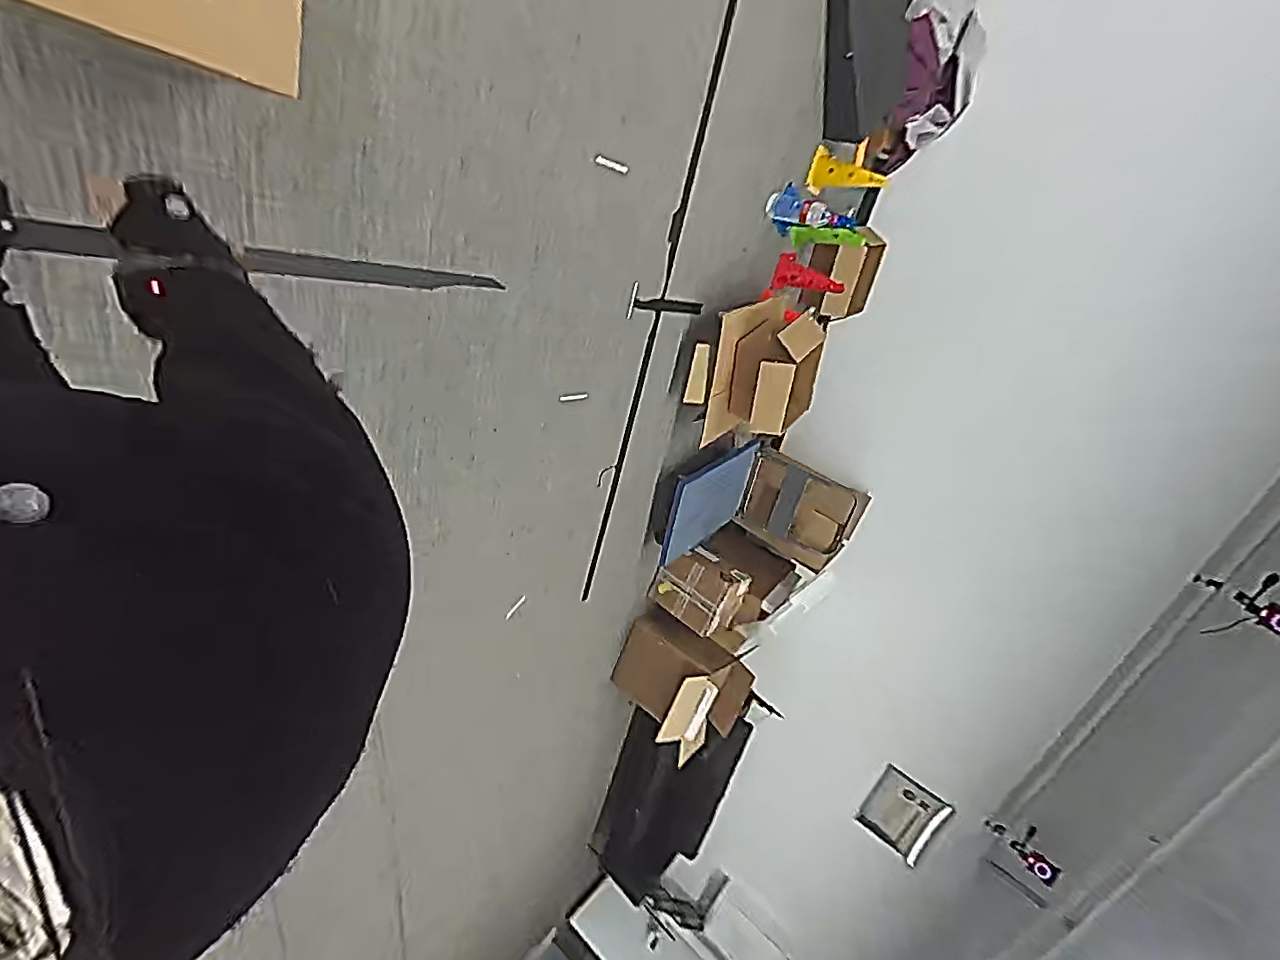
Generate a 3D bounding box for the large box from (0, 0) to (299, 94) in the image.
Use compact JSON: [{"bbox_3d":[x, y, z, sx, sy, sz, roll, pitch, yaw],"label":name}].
[{"bbox_3d":[-0.720,-0.751,0.686,0.408,0.320,0.320,-16,129,-53],"label":"large box"}]
